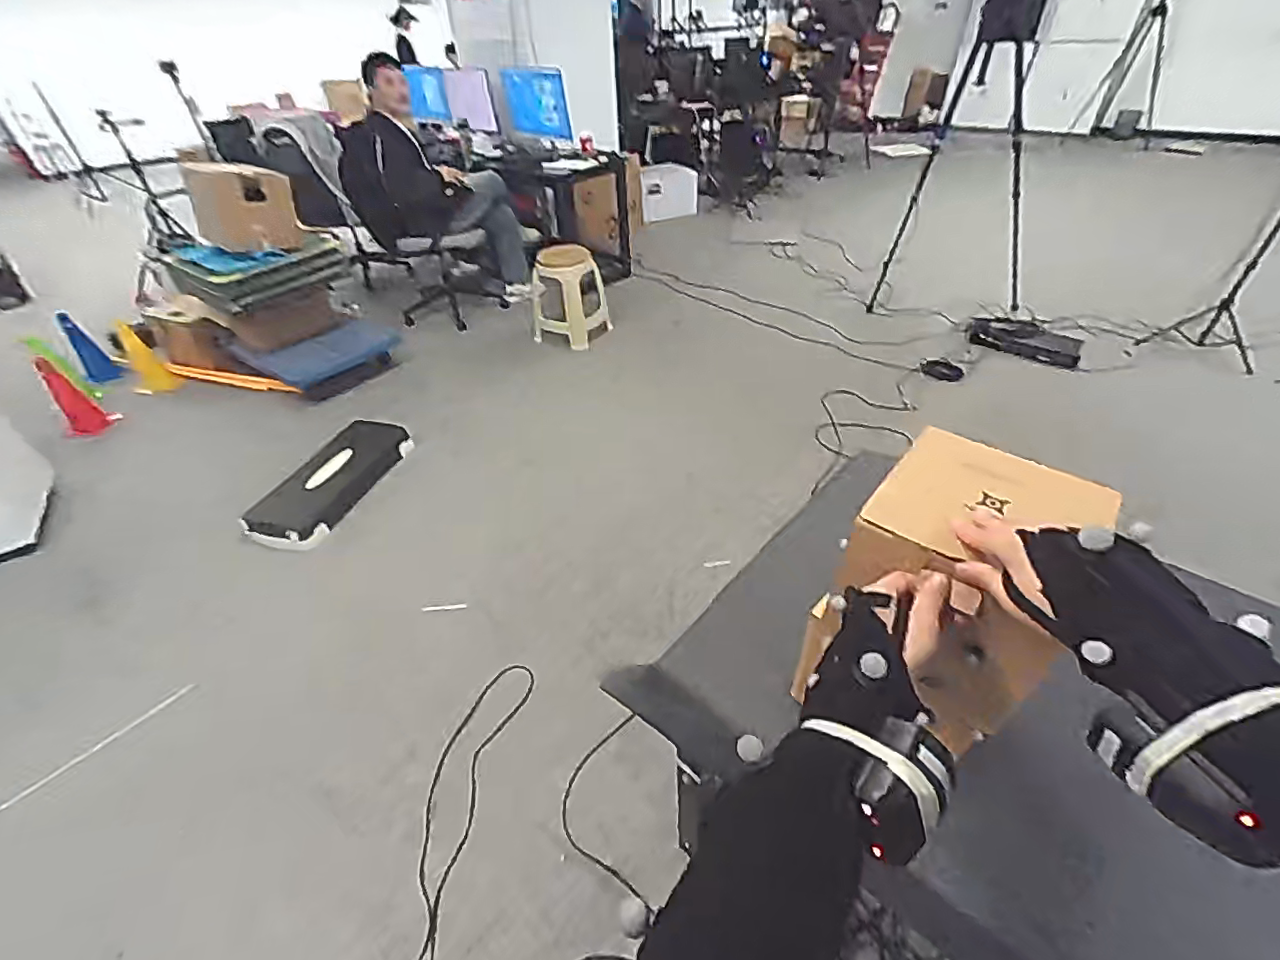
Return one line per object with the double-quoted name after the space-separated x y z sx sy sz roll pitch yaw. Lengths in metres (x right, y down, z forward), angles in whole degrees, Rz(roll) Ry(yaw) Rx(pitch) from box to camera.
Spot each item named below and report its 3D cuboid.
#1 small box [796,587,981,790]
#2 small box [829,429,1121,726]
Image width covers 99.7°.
0.299 0.204 0.613 0.168 0.176 0.179 -33 49 -31 "small box"
0.293 0.086 0.502 0.168 0.176 0.179 28 48 29 "small box"
